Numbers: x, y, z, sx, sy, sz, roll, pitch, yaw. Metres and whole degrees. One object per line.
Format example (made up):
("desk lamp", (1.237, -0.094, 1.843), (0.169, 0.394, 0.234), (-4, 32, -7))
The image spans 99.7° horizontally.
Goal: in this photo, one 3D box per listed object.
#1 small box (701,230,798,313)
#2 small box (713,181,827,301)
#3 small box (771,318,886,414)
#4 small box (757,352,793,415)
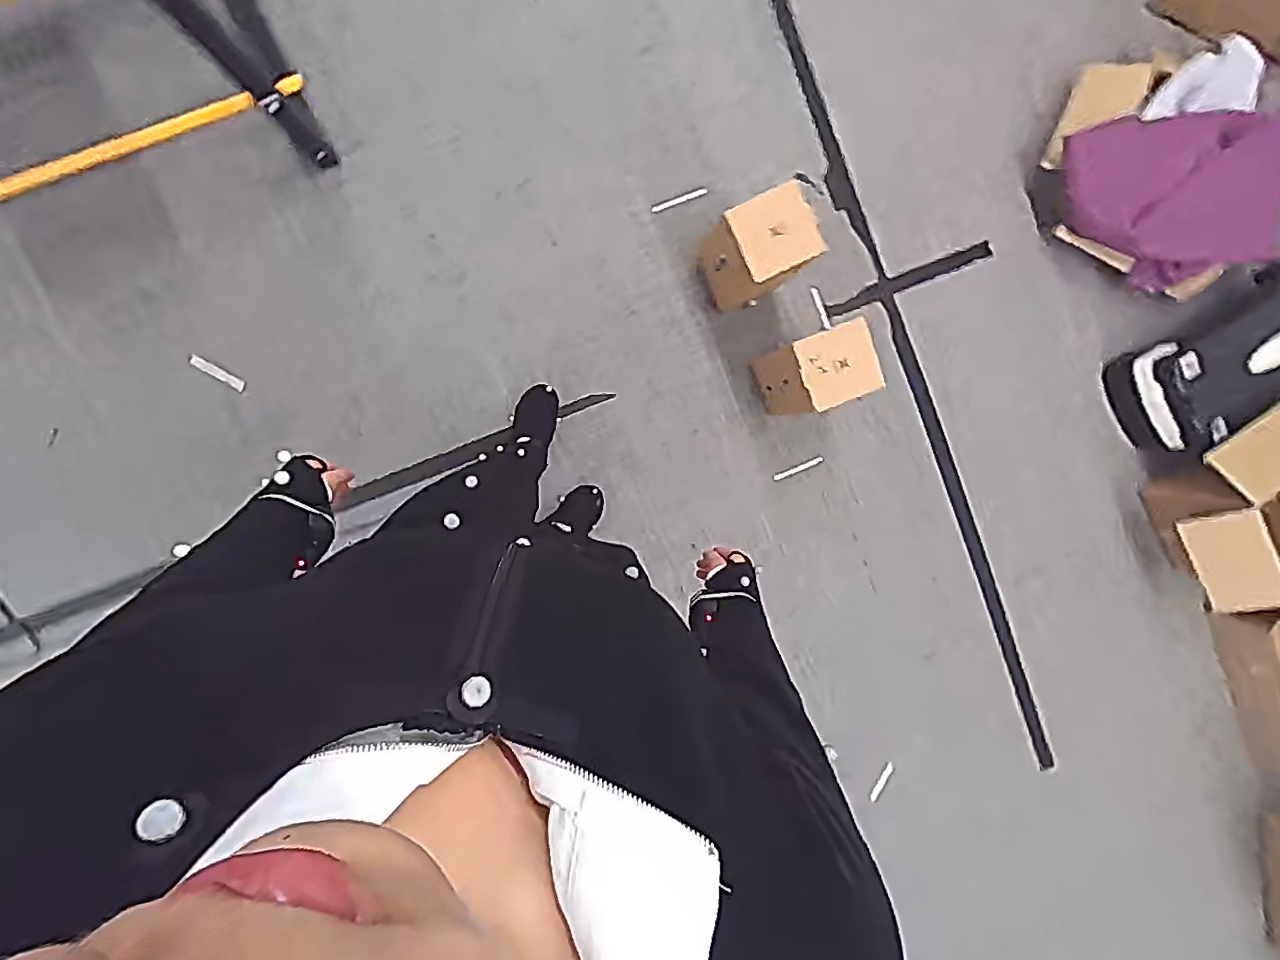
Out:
("small box", (0.274, -0.555, 1.396), (0.168, 0.176, 0.179), (-25, 98, -3))
("small box", (0.289, -0.536, 1.235), (0.179, 0.176, 0.168), (-27, 96, -1))
("small box", (0.436, -0.261, 1.274), (0.179, 0.176, 0.168), (-21, 97, -3))
("small box", (0.428, -0.277, 1.439), (0.179, 0.176, 0.168), (-23, 97, -2))
